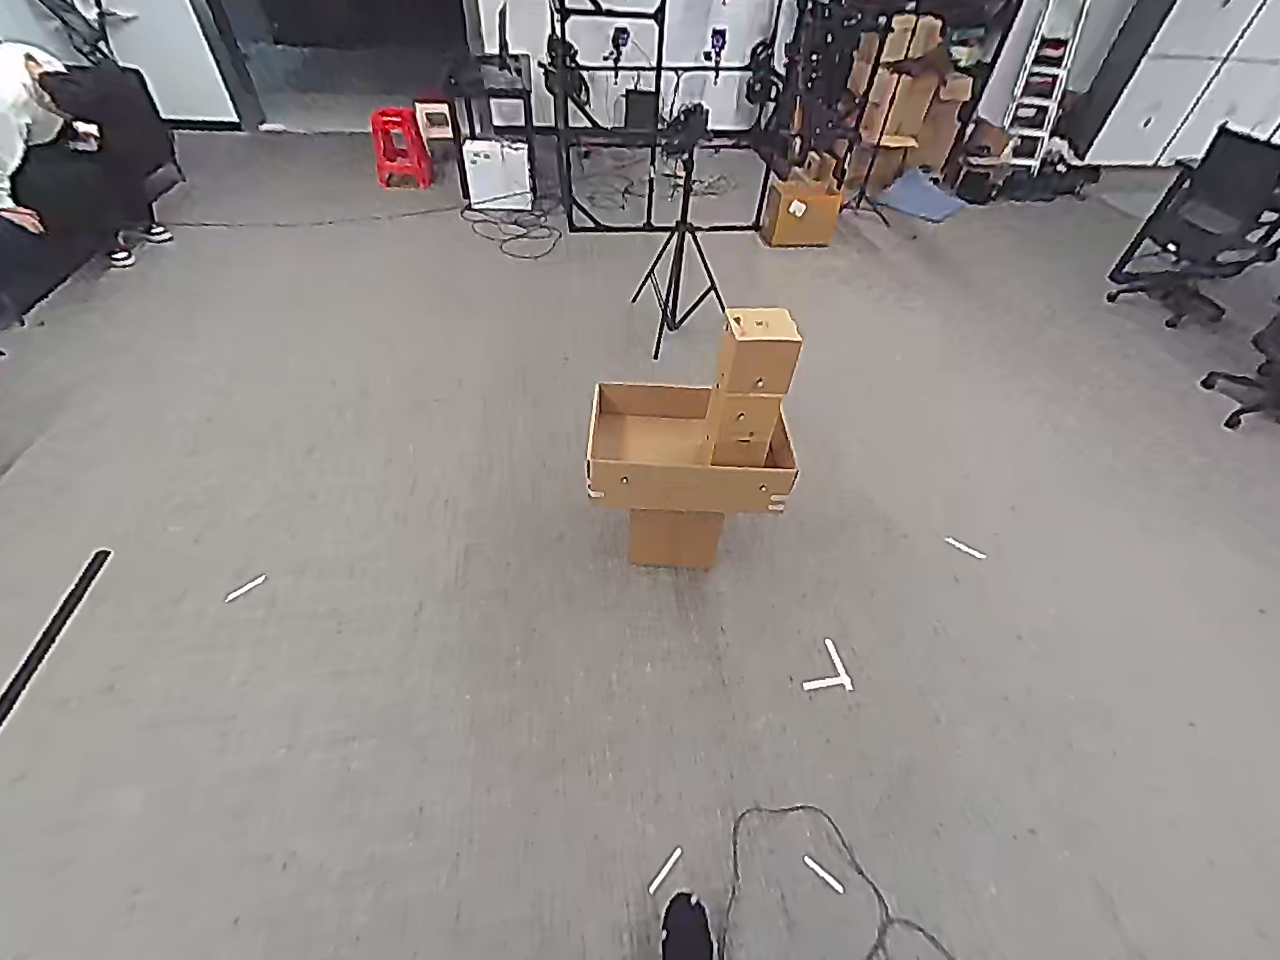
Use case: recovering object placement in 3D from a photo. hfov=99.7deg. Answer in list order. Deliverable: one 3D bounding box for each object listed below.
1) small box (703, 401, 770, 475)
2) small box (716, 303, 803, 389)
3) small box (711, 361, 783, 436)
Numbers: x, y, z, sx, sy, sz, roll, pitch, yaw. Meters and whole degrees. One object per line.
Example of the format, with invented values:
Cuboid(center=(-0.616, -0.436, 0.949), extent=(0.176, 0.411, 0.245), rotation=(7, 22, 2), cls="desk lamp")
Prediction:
Cuboid(center=(0.296, -0.129, 1.695), extent=(0.168, 0.176, 0.179), rotation=(1, 45, -3), cls="small box")
Cuboid(center=(0.316, -0.359, 1.465), extent=(0.179, 0.176, 0.168), rotation=(0, 45, -5), cls="small box")
Cuboid(center=(0.305, -0.243, 1.580), extent=(0.168, 0.176, 0.179), rotation=(1, 45, -3), cls="small box")
